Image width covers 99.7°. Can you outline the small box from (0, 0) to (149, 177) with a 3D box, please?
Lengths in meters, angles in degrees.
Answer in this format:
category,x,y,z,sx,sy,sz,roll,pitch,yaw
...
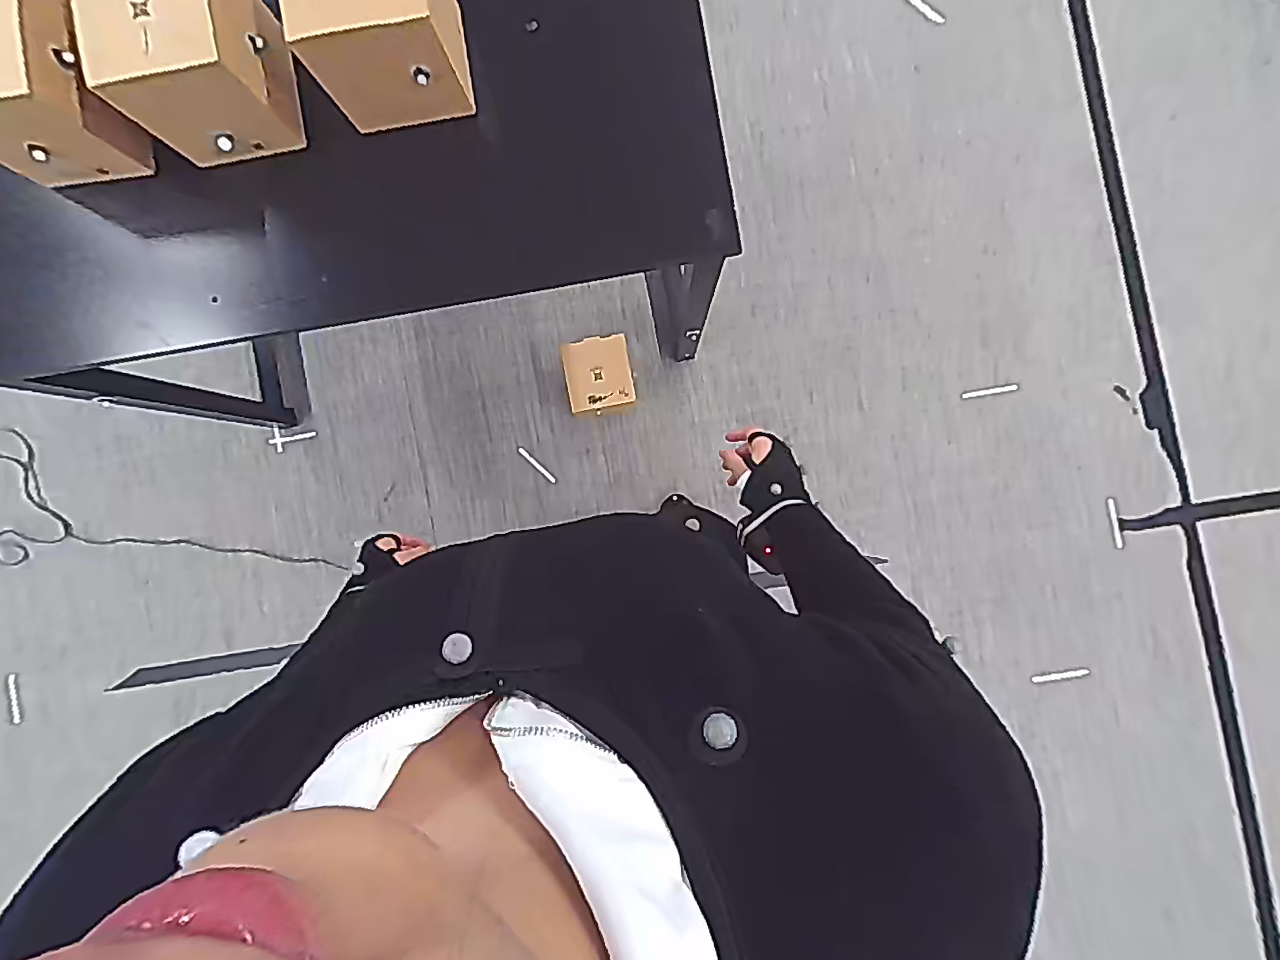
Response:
category,x,y,z,sx,sy,sz,roll,pitch,yaw
small box,-0.808,-0.531,0.720,0.168,0.176,0.179,-7,89,0

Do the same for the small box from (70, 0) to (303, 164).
category,x,y,z,sx,sy,sz,roll,pitch,yaw
small box,-0.586,-0.562,0.716,0.168,0.176,0.179,-11,90,1

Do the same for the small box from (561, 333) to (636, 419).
category,x,y,z,sx,sy,sz,roll,pitch,yaw
small box,-0.105,-0.269,1.431,0.168,0.176,0.179,-11,89,2

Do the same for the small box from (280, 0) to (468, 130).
category,x,y,z,sx,sy,sz,roll,pitch,yaw
small box,-0.341,-0.605,0.714,0.179,0.176,0.168,-10,88,2
